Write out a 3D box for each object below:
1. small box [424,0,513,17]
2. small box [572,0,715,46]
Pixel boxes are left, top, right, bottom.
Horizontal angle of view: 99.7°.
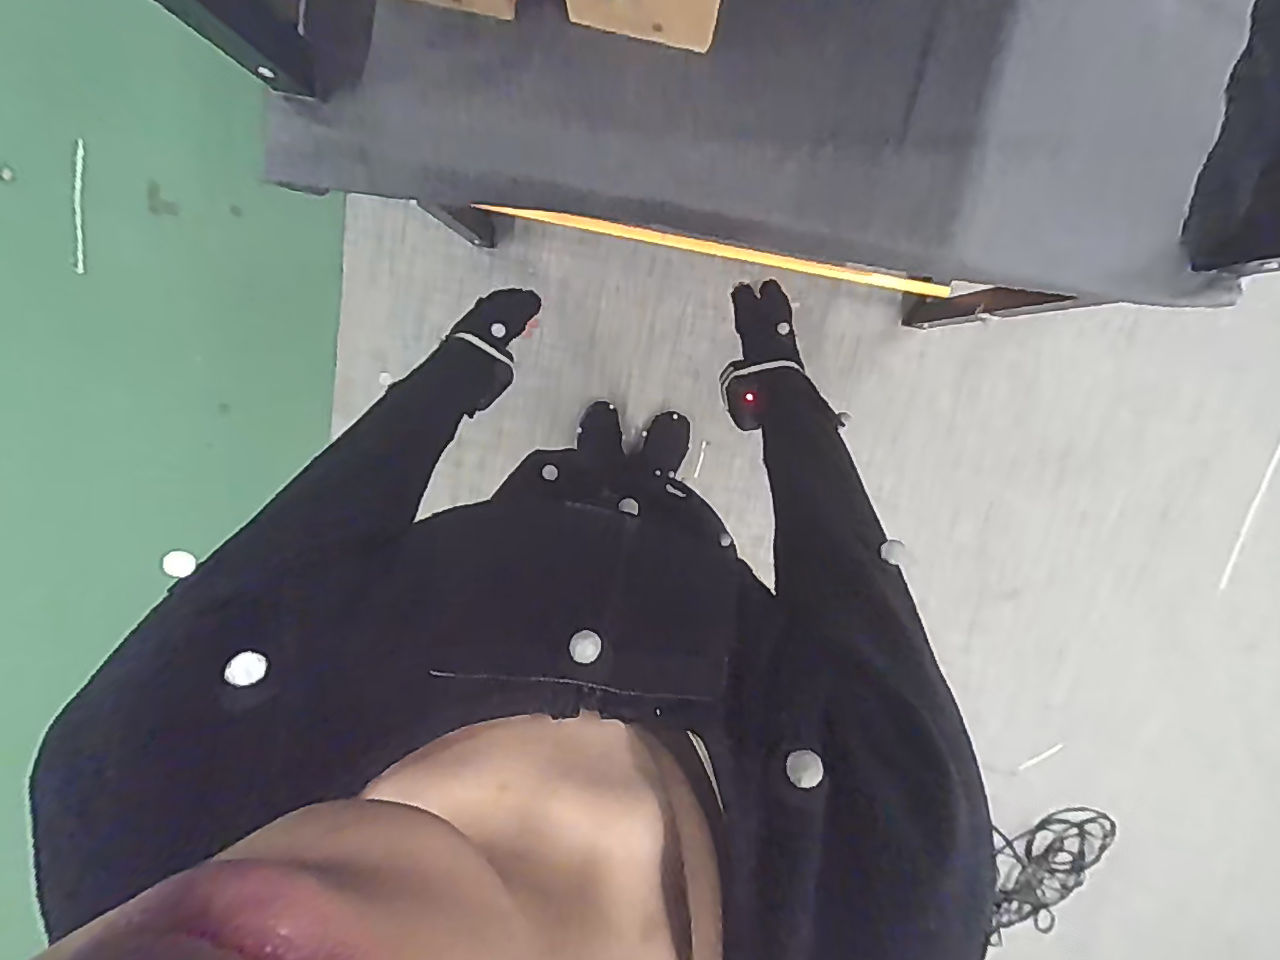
[{"bbox_3d":[-0.212,-0.618,0.530,0.168,0.176,0.179,10,102,-2],"label":"small box"},{"bbox_3d":[0.012,-0.586,0.540,0.168,0.176,0.179,11,101,-3],"label":"small box"}]
